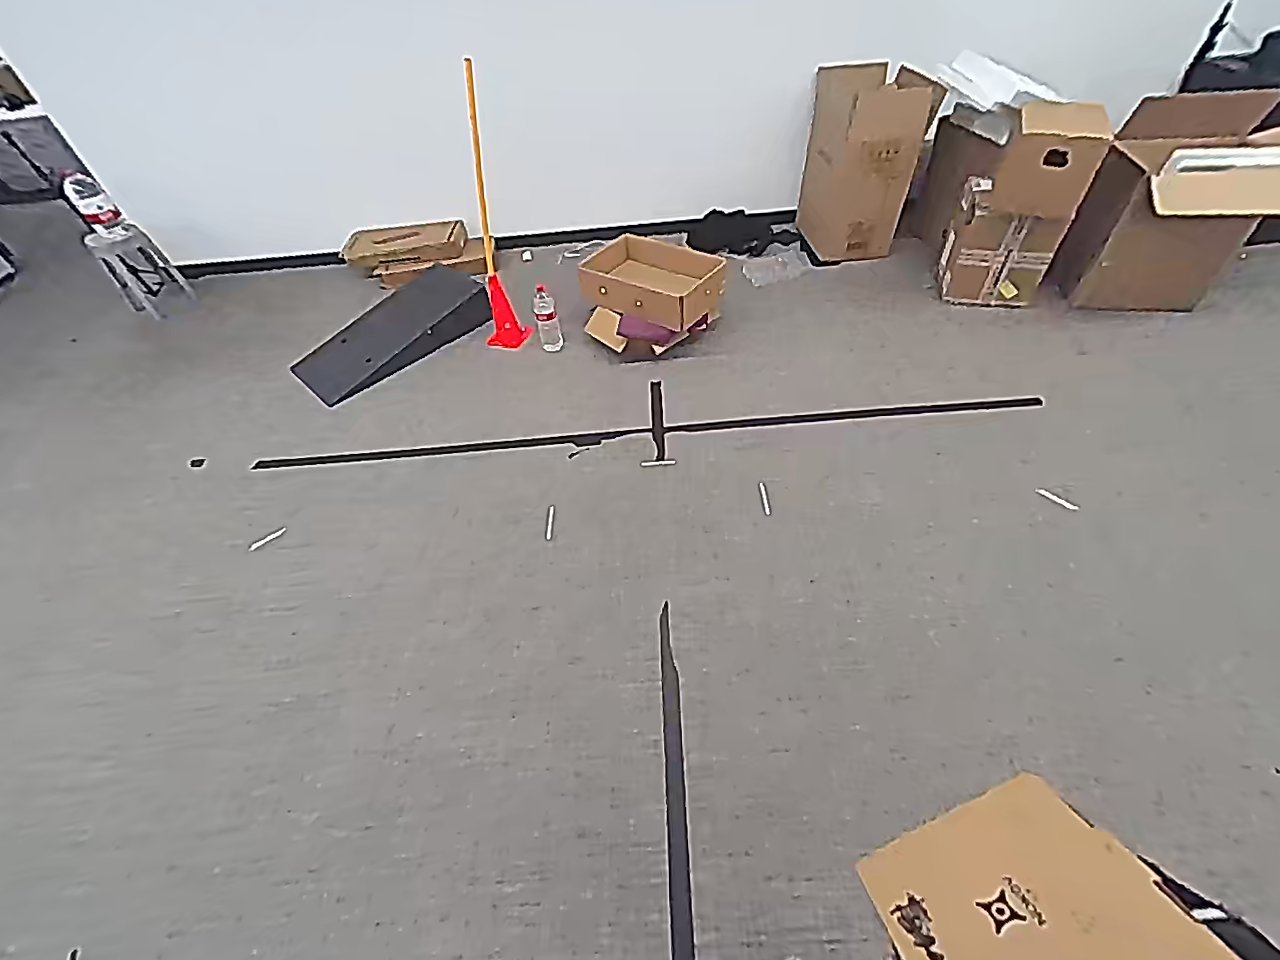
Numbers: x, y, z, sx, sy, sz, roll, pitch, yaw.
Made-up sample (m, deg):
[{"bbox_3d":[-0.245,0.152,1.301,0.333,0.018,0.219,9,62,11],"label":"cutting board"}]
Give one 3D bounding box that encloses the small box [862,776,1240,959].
[{"bbox_3d":[0.311,0.380,0.409,0.179,0.176,0.168,-28,10,1],"label":"small box"}]
